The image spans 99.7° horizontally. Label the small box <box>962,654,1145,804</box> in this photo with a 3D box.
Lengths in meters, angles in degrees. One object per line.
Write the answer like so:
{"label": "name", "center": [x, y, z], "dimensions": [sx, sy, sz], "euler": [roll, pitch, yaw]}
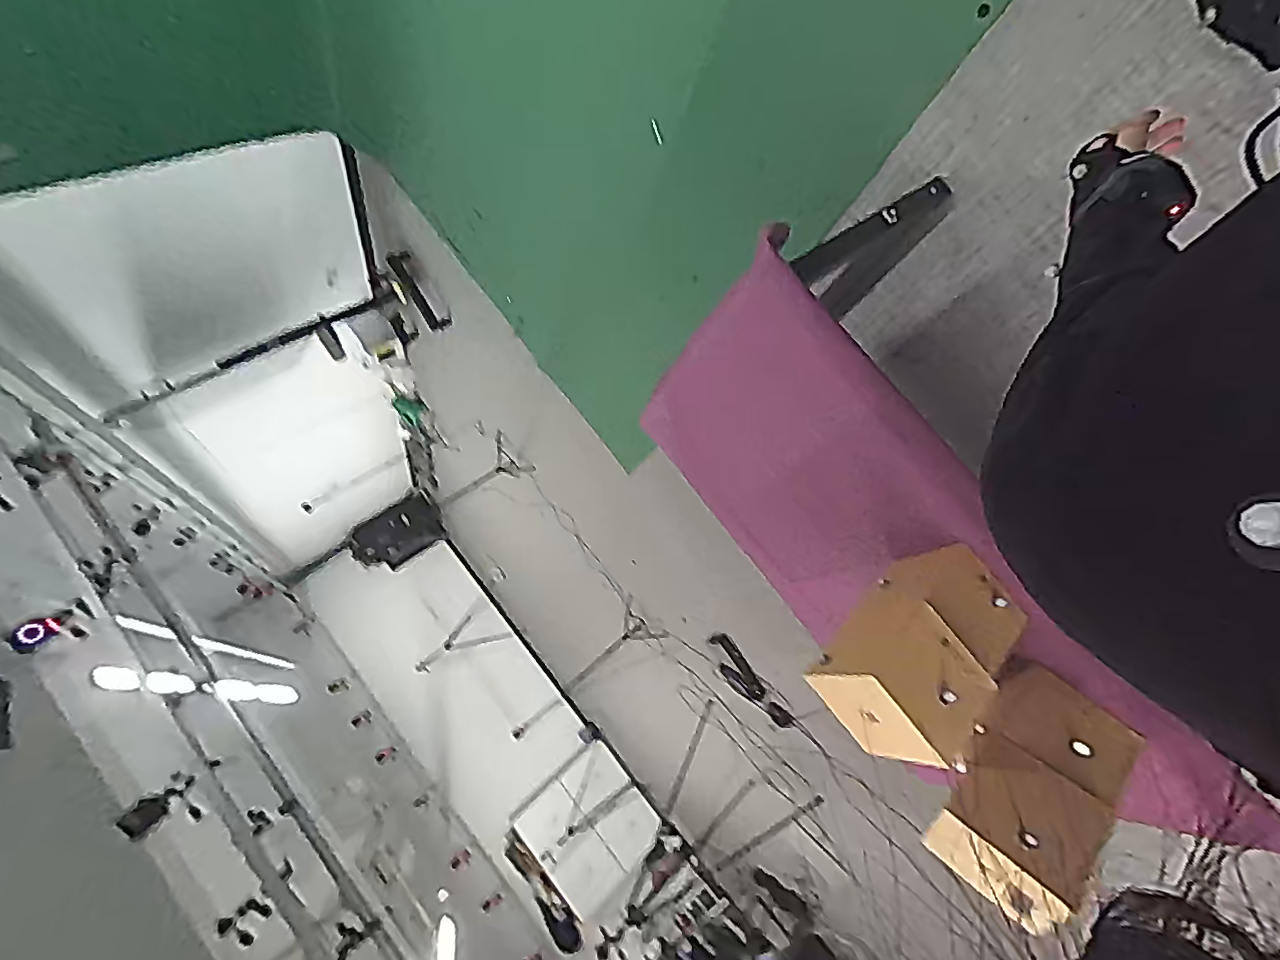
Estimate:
{"label": "small box", "center": [0.705, 0.438, 0.931], "dimensions": [0.179, 0.176, 0.168], "euler": [38, 149, 26]}

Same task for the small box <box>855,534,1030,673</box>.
{"label": "small box", "center": [0.530, 0.219, 0.952], "dimensions": [0.168, 0.176, 0.179], "euler": [50, 153, 3]}

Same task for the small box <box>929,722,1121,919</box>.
{"label": "small box", "center": [0.593, 0.522, 0.842], "dimensions": [0.179, 0.176, 0.168], "euler": [32, 147, 37]}

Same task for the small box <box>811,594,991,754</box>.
{"label": "small box", "center": [0.419, 0.300, 0.864], "dimensions": [0.168, 0.176, 0.179], "euler": [50, 155, 4]}
